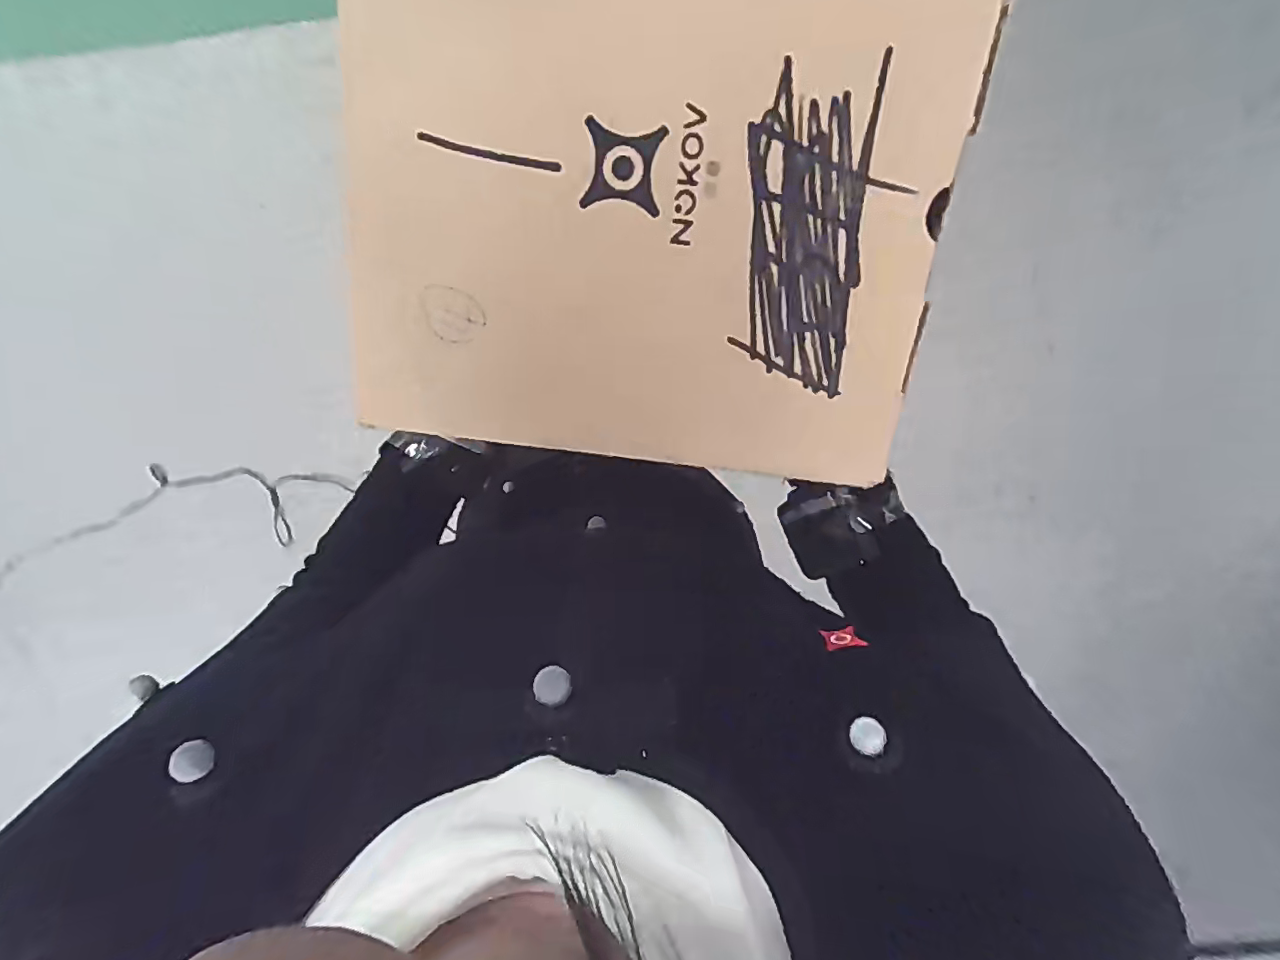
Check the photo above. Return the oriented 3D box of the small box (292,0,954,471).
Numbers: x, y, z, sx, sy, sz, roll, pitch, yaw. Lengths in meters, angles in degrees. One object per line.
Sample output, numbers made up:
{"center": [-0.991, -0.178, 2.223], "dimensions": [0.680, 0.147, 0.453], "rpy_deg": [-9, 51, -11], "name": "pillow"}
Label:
{"center": [-0.008, -0.113, 0.230], "dimensions": [0.179, 0.176, 0.168], "rpy_deg": [6, 107, 0], "name": "small box"}
